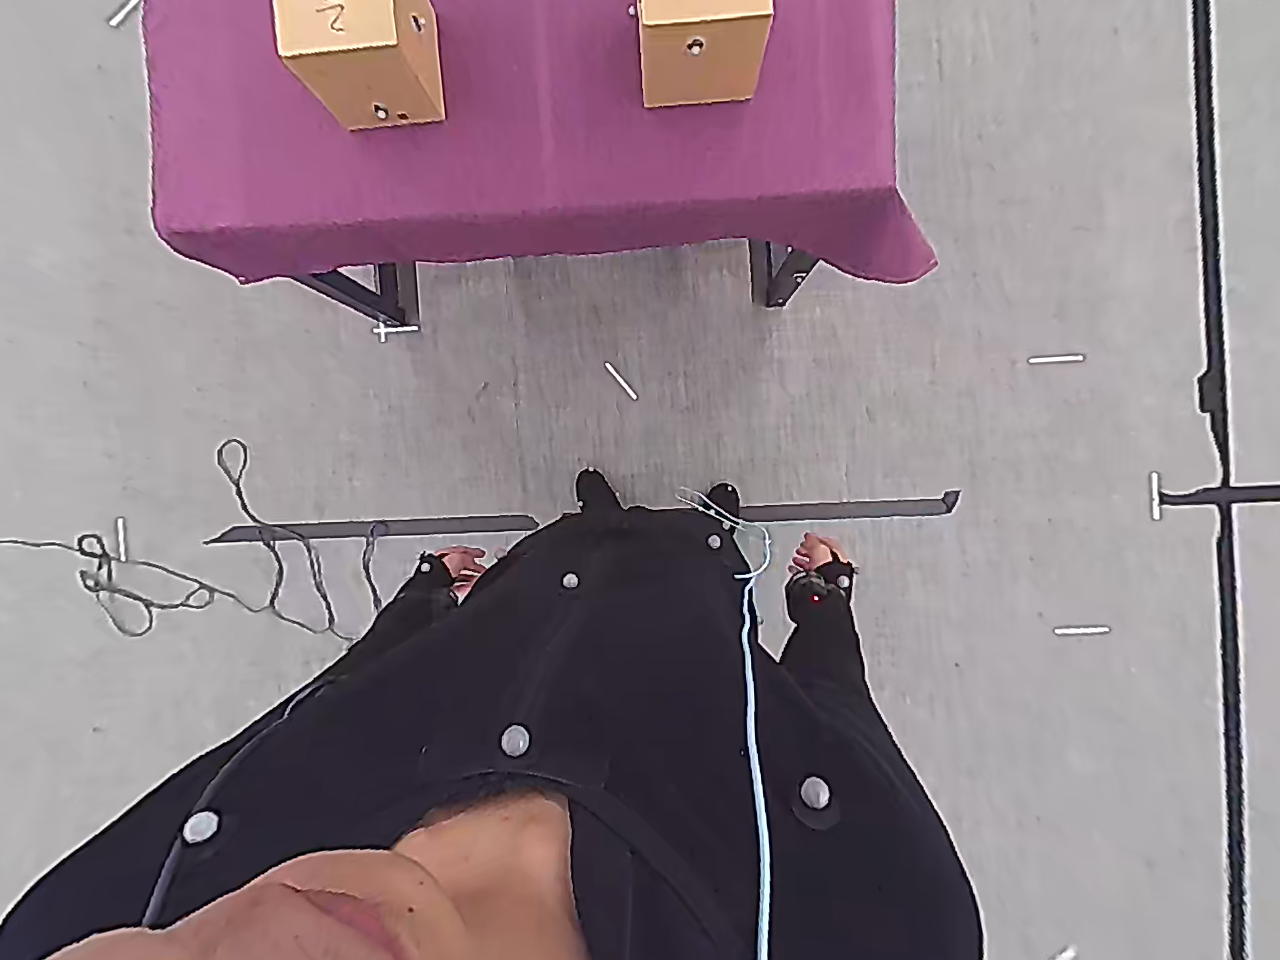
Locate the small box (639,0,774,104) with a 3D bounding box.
[{"bbox_3d":[0.087,-0.683,0.785,0.179,0.176,0.168,-3,92,2],"label":"small box"}]
